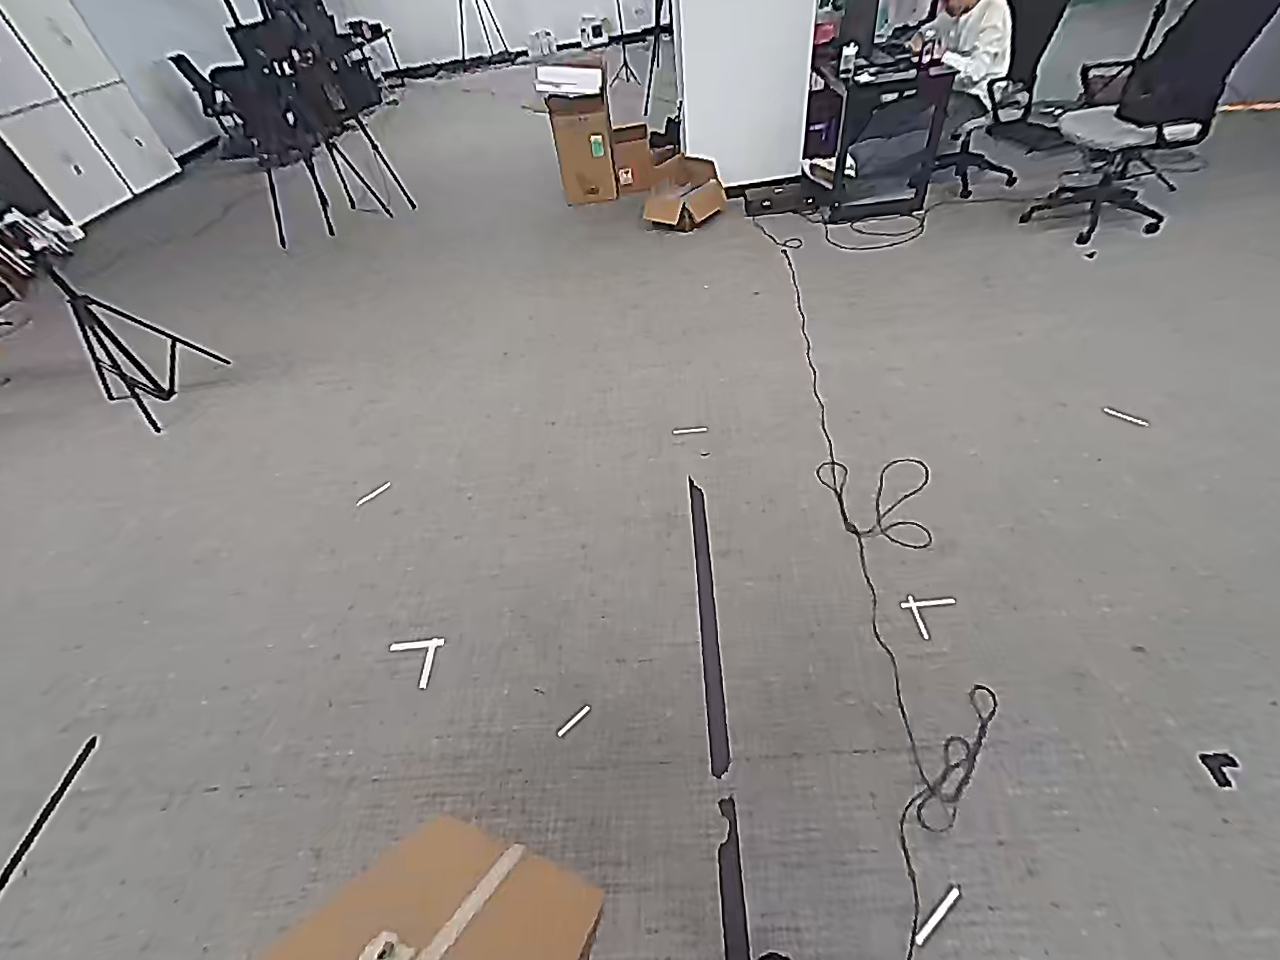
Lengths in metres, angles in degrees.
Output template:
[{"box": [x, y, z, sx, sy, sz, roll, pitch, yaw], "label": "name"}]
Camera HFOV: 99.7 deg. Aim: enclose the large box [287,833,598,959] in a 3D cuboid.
[{"box": [-0.287, 0.750, 0.675, 0.320, 0.408, 0.320, 13, 86, 15], "label": "large box"}]
